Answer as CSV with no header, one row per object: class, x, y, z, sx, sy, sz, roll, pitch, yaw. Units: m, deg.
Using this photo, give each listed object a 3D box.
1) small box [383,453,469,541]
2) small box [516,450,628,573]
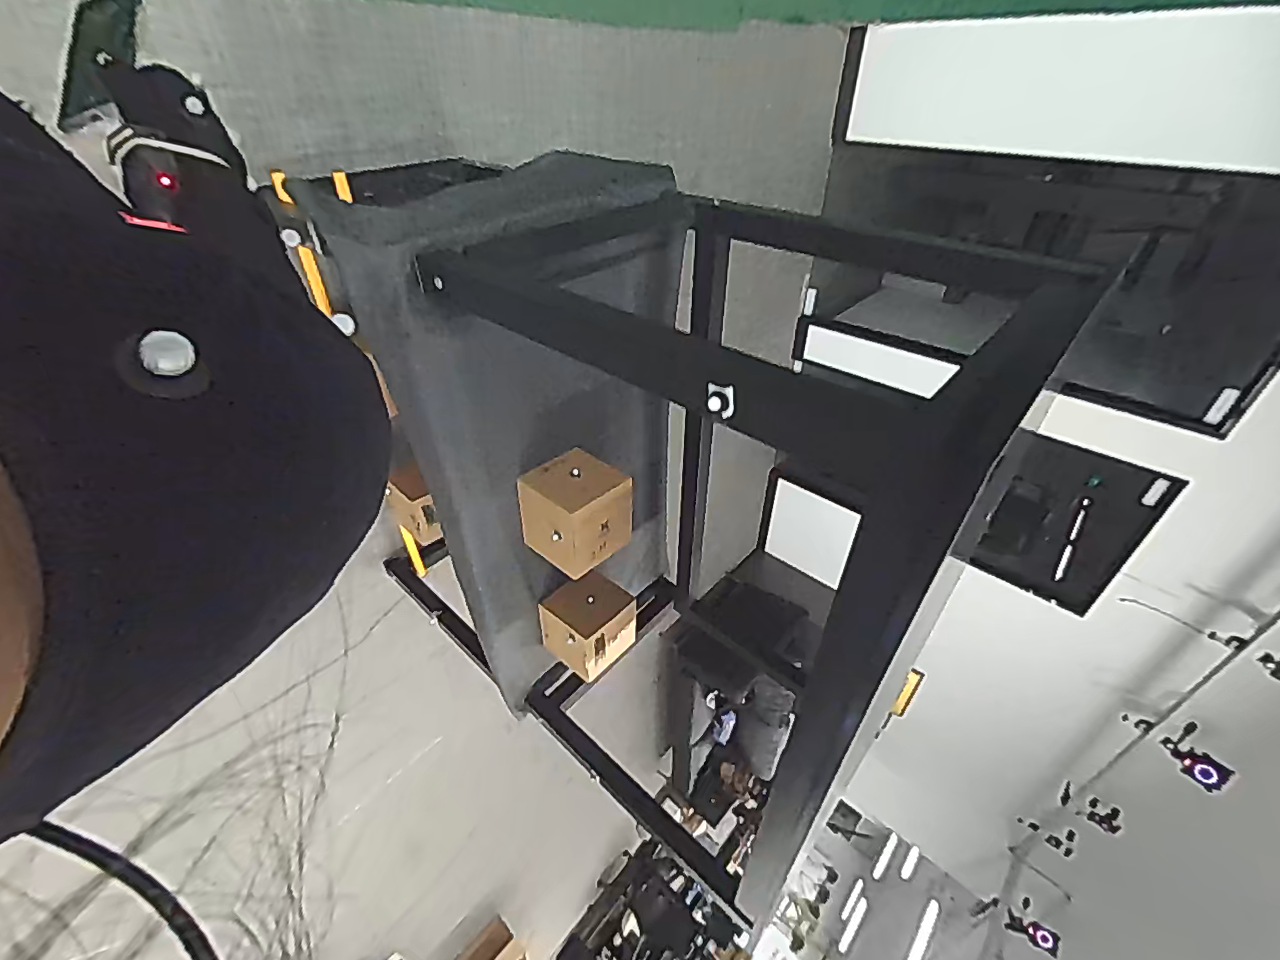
small box,-0.639,0.044,1.605,0.179,0.176,0.168,-31,138,-38
small box,-0.143,0.054,1.130,0.168,0.176,0.179,-31,138,-38
